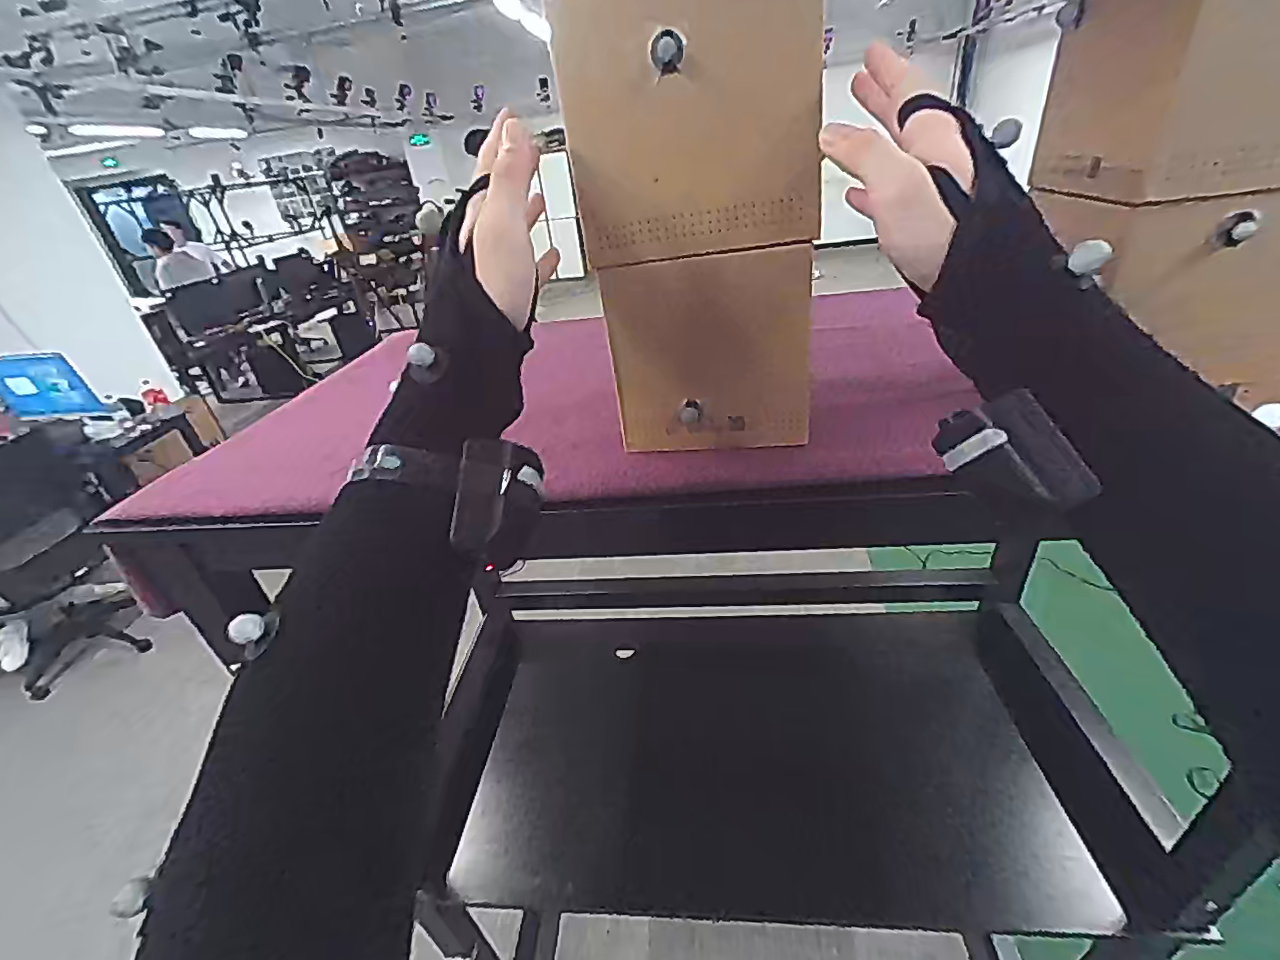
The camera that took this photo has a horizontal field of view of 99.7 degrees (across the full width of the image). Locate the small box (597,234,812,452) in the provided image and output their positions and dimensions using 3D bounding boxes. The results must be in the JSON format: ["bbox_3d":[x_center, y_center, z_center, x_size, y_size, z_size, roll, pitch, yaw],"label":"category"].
[{"bbox_3d":[0.067,-0.140,0.516,0.168,0.176,0.179,-3,31,11],"label":"small box"}]

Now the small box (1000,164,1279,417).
[{"bbox_3d":[0.443,-0.165,0.467,0.168,0.176,0.179,-2,31,12],"label":"small box"}]

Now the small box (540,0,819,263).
[{"bbox_3d":[0.043,-0.278,0.431,0.179,0.176,0.168,-3,30,10],"label":"small box"}]
